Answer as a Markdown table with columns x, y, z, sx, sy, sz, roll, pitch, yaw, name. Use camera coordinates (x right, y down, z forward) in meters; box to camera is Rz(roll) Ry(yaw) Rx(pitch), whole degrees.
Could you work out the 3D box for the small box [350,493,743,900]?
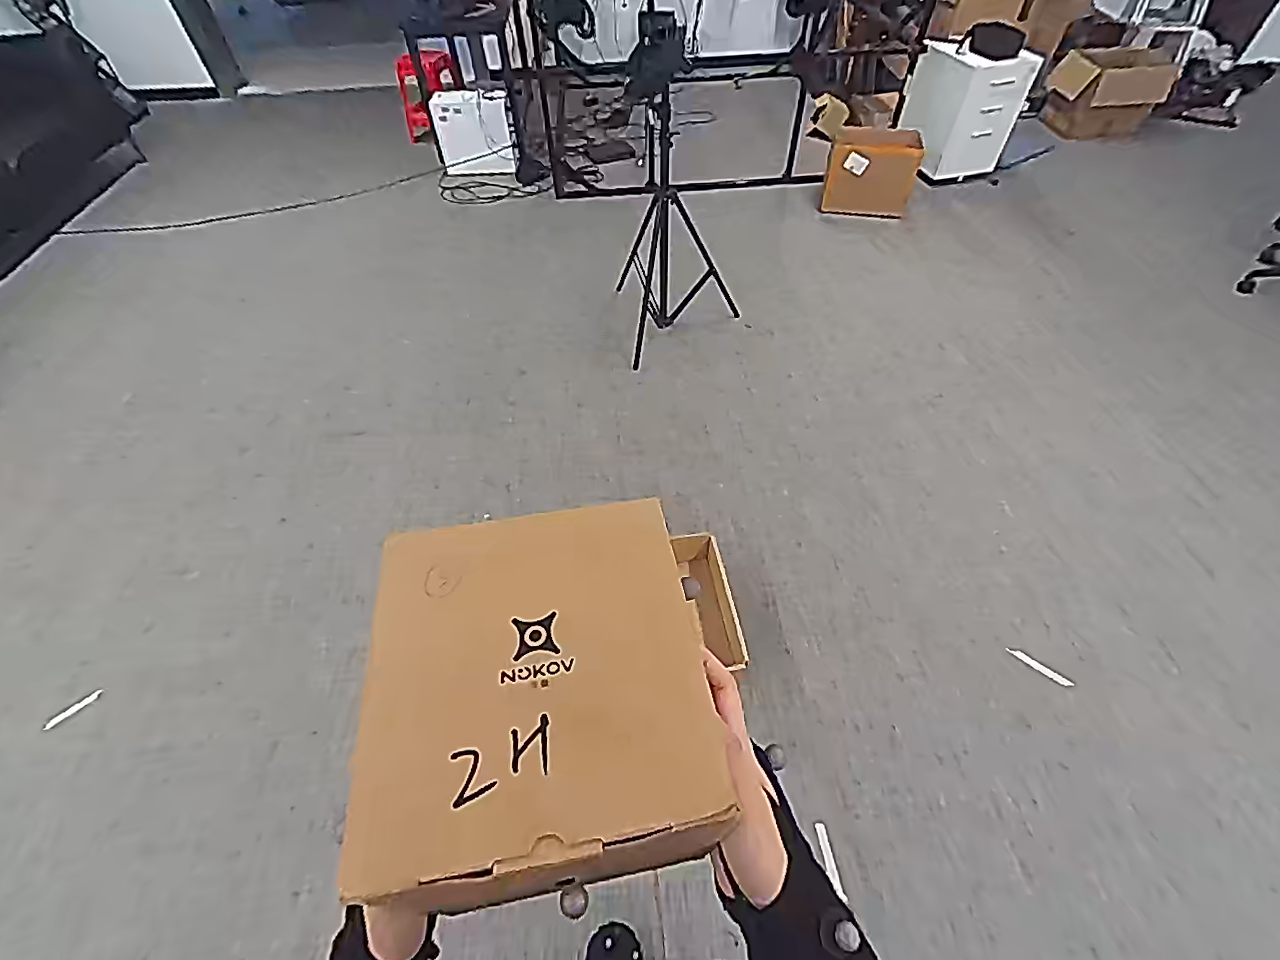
| x | y | z | sx | sy | sz | roll | pitch | yaw | name |
| --- | --- | --- | --- | --- | --- | --- | --- | --- | --- |
| -0.051 | 0.134 | 0.337 | 0.168 | 0.176 | 0.179 | -8 | 51 | -7 | small box |
